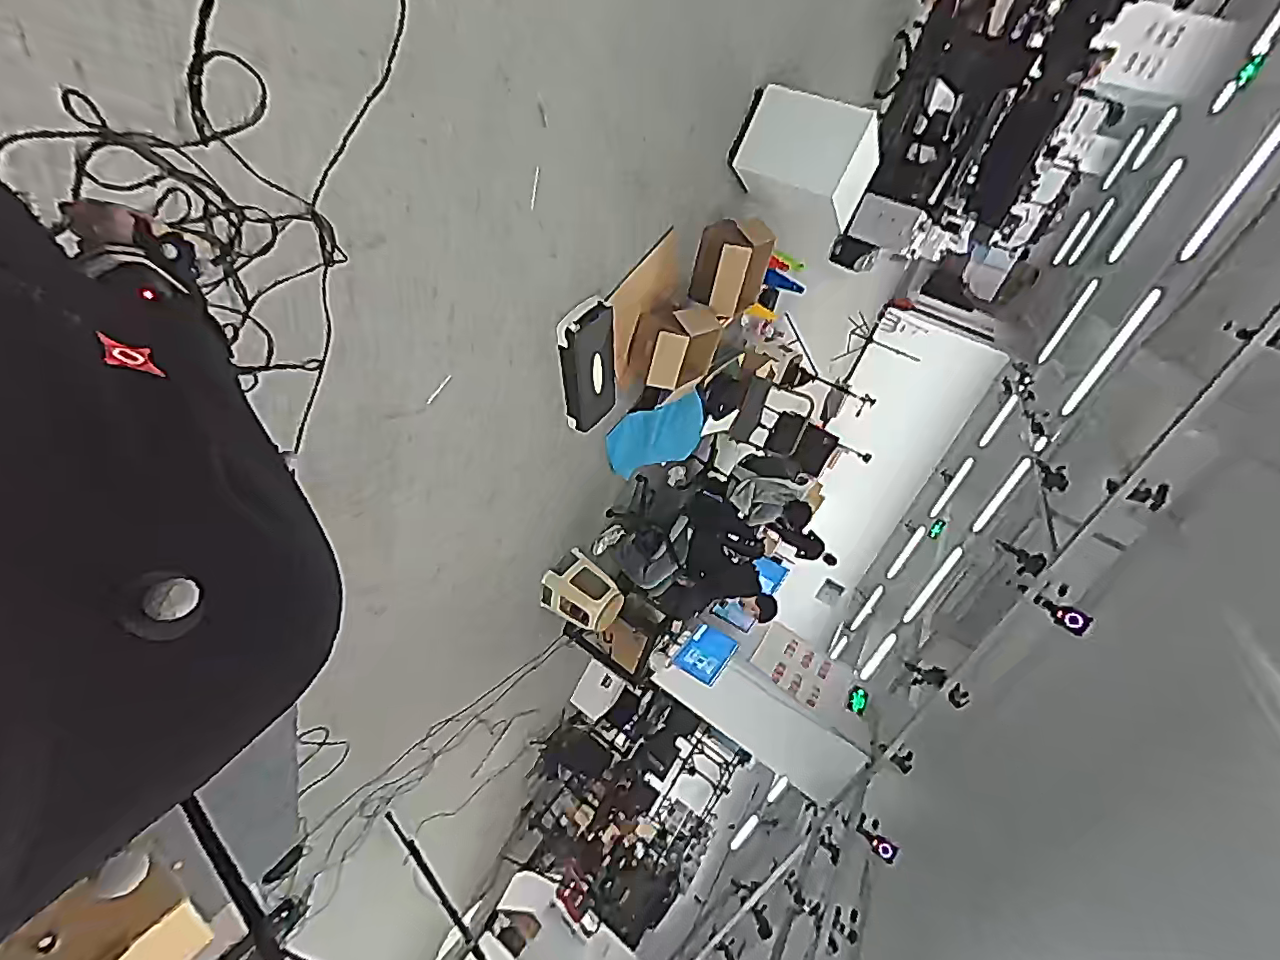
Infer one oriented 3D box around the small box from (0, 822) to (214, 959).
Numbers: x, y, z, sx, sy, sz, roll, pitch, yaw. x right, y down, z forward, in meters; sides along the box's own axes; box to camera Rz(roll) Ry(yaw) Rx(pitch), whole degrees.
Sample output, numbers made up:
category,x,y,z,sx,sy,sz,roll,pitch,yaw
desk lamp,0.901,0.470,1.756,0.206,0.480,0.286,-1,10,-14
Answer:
category,x,y,z,sx,sy,sz,roll,pitch,yaw
small box,-0.754,0.630,0.762,0.168,0.176,0.179,-35,151,-47
